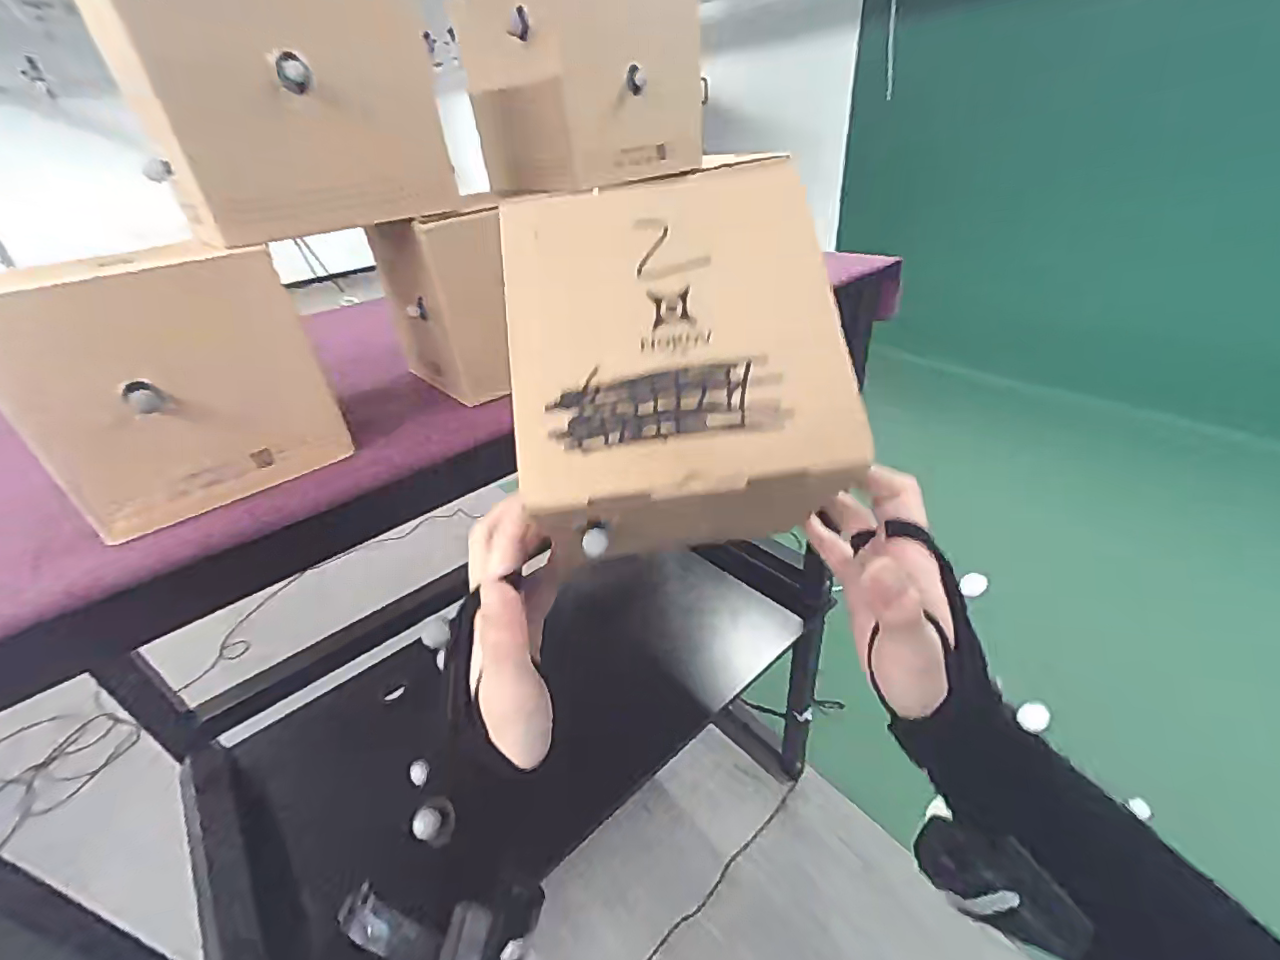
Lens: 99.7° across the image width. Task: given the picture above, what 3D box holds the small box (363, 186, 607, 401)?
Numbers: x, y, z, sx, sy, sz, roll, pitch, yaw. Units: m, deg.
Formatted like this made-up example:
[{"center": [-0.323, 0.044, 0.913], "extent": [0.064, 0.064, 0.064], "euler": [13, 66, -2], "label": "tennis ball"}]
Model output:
[{"center": [-0.153, -0.199, 0.564], "extent": [0.179, 0.176, 0.168], "euler": [-28, 39, -30], "label": "small box"}]

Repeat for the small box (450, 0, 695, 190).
[{"center": [-0.059, -0.395, 0.546], "extent": [0.168, 0.176, 0.179], "euler": [-30, 40, -31], "label": "small box"}]

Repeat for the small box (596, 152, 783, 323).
[{"center": [0.069, -0.319, 0.709], "extent": [0.179, 0.176, 0.168], "euler": [-30, 41, -30], "label": "small box"}]

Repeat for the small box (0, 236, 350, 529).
[{"center": [-0.359, -0.084, 0.423], "extent": [0.168, 0.176, 0.179], "euler": [-29, 38, -31], "label": "small box"}]

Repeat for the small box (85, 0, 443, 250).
[{"center": [-0.272, -0.285, 0.415], "extent": [0.179, 0.176, 0.168], "euler": [-30, 40, -32], "label": "small box"}]
